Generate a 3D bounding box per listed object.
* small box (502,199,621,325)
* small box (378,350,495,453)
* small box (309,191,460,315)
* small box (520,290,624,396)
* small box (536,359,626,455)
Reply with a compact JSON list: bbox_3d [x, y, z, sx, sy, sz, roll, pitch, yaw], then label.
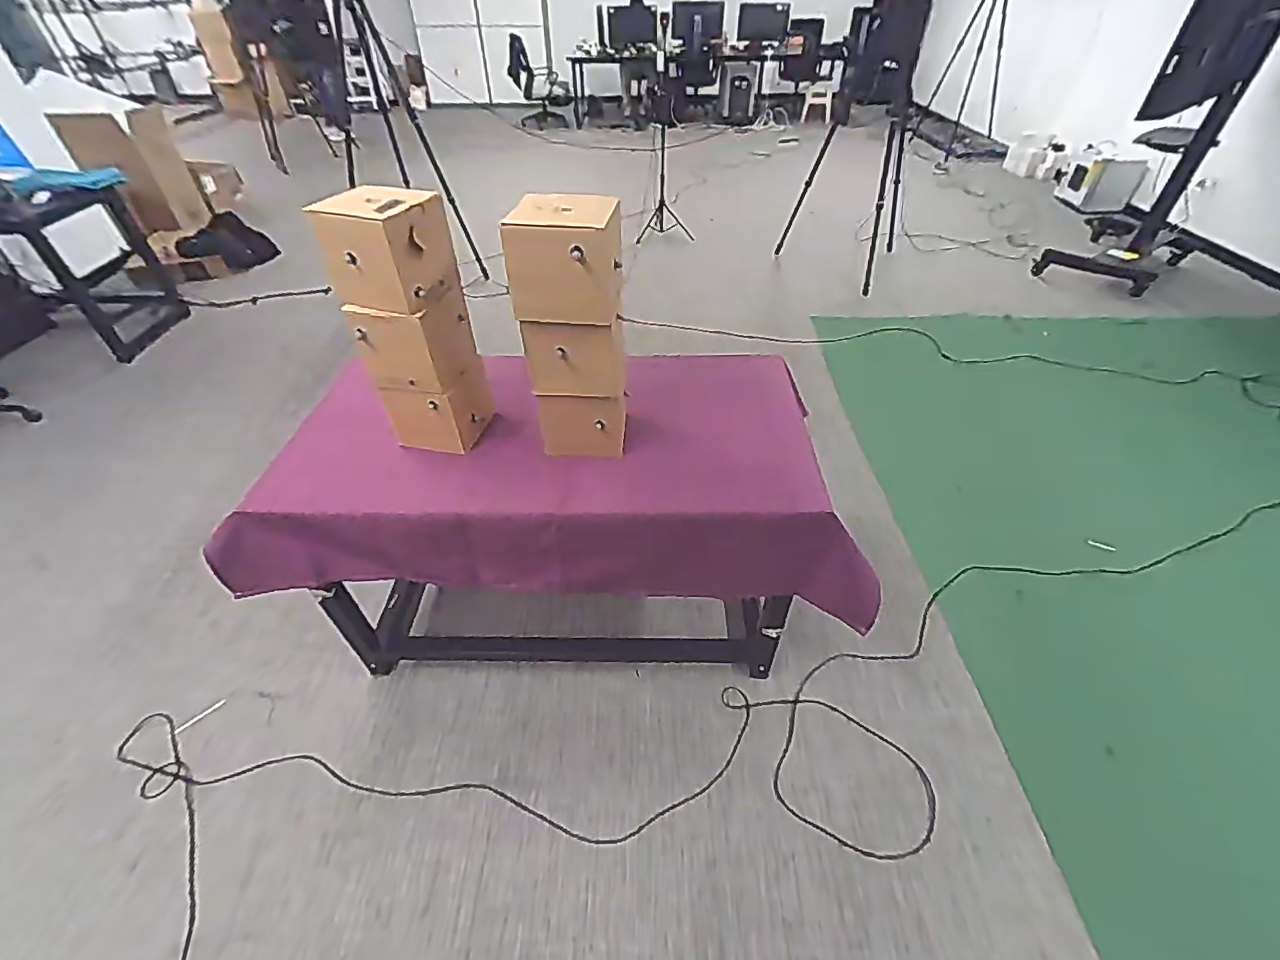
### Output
[{"bbox_3d":[-0.131,-0.397,0.988,0.179,0.176,0.168,5,42,6],"label":"small box"},{"bbox_3d":[-0.458,-0.180,1.245,0.179,0.176,0.168,8,43,9],"label":"small box"},{"bbox_3d":[-0.473,-0.433,1.034,0.179,0.176,0.168,13,43,15],"label":"small box"},{"bbox_3d":[-0.130,-0.285,1.110,0.179,0.176,0.168,2,43,4],"label":"small box"},{"bbox_3d":[-0.125,-0.170,1.227,0.179,0.176,0.168,1,42,3],"label":"small box"}]
